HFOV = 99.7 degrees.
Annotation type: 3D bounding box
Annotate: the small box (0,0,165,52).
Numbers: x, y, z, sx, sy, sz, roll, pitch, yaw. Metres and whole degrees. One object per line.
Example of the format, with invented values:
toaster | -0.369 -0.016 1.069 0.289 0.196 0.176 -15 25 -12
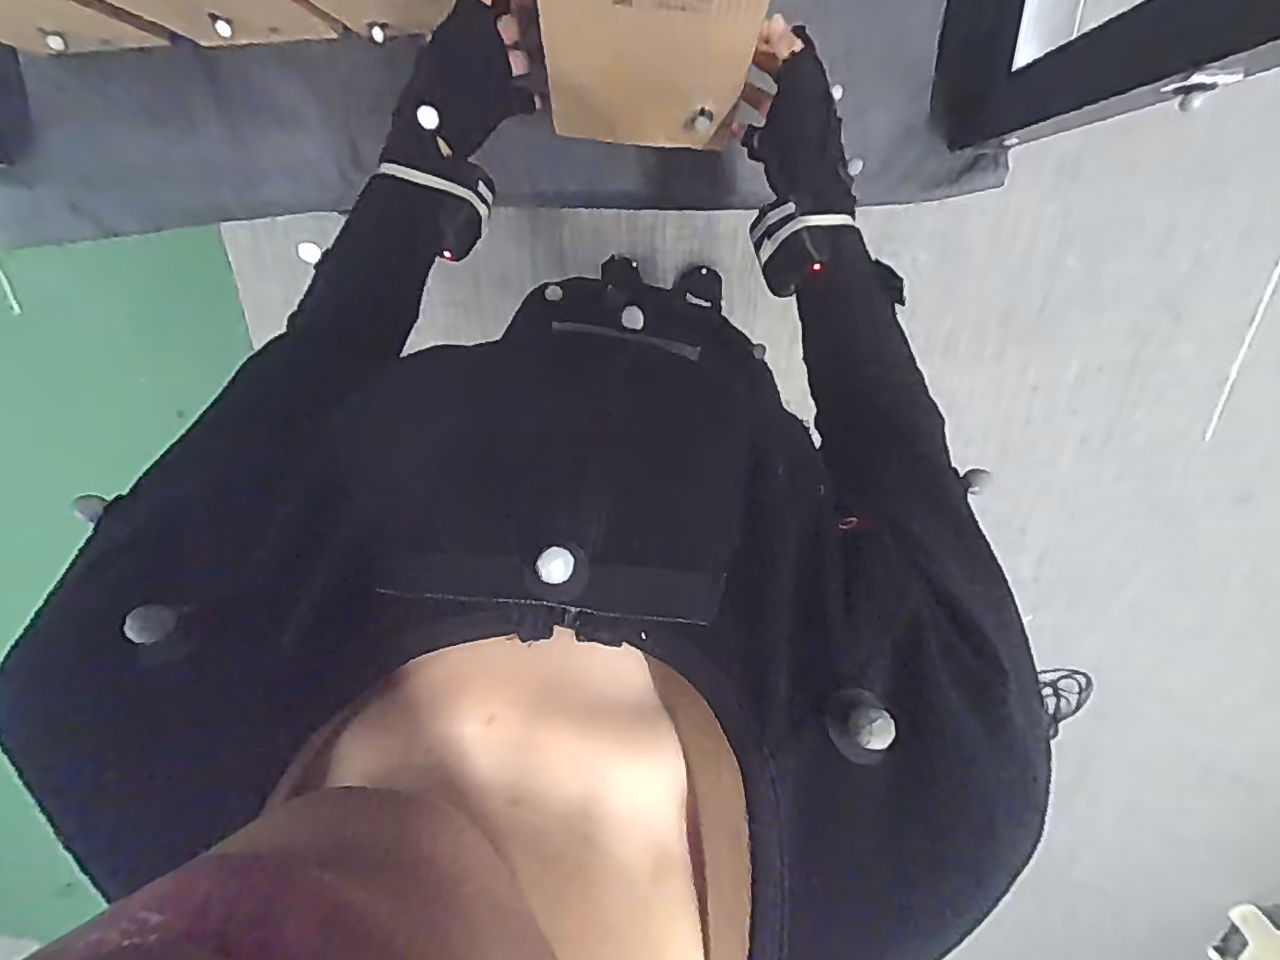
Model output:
small box | -0.596 -0.523 0.485 0.168 0.176 0.179 0 113 5
